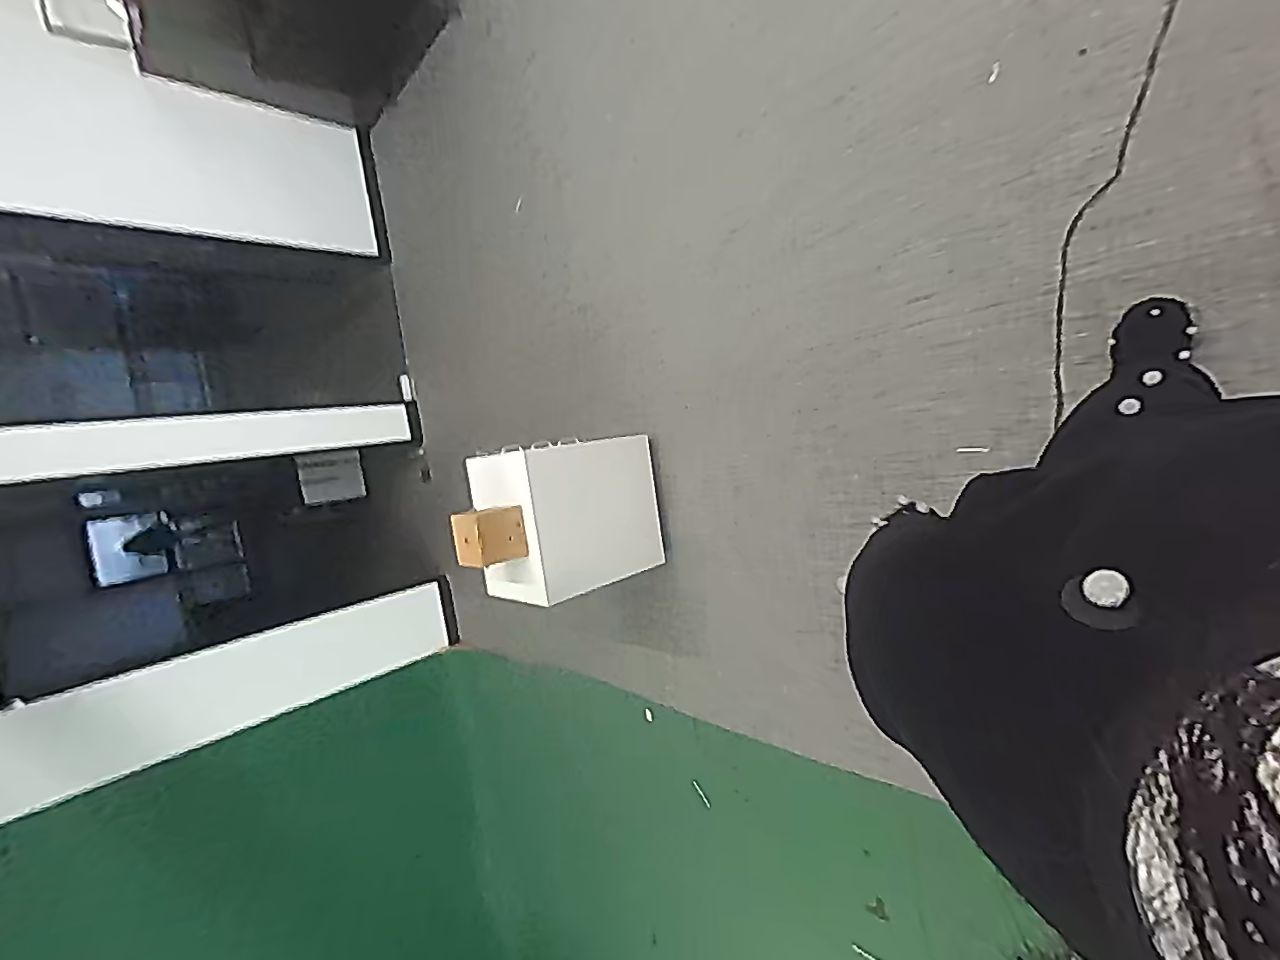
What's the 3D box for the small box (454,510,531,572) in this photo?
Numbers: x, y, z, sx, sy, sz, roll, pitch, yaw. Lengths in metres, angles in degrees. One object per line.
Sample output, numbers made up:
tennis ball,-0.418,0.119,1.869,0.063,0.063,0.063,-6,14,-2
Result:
small box,-0.474,0.191,1.744,0.179,0.176,0.168,-6,94,47
